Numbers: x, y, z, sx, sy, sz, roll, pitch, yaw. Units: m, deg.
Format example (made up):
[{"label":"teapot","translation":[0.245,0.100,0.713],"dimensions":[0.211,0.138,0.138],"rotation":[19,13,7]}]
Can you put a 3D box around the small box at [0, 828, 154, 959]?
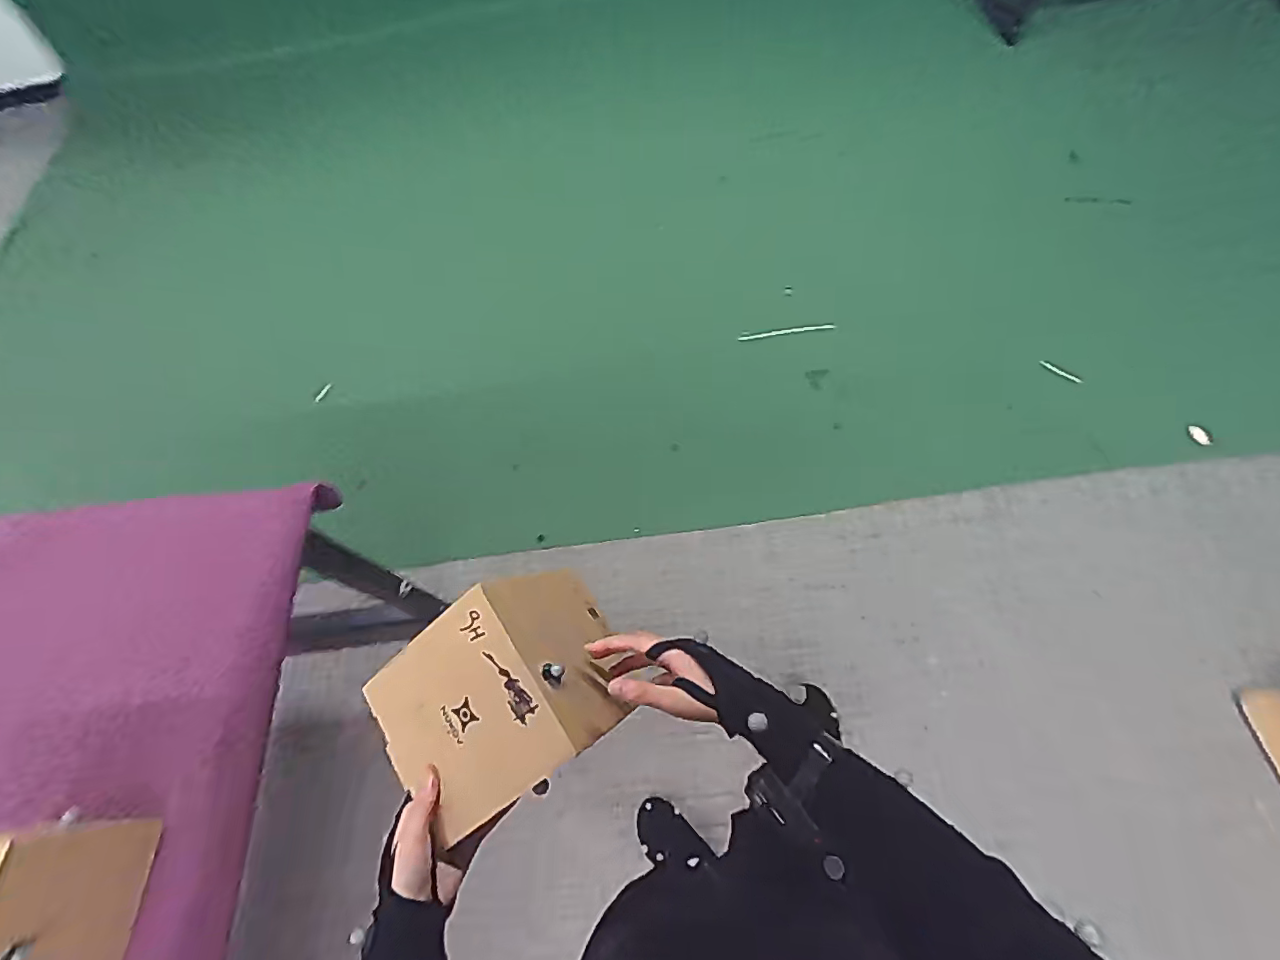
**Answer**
[{"label":"small box","translation":[-0.661,0.470,0.549],"dimensions":[0.168,0.176,0.179],"rotation":[-5,62,5]}]
